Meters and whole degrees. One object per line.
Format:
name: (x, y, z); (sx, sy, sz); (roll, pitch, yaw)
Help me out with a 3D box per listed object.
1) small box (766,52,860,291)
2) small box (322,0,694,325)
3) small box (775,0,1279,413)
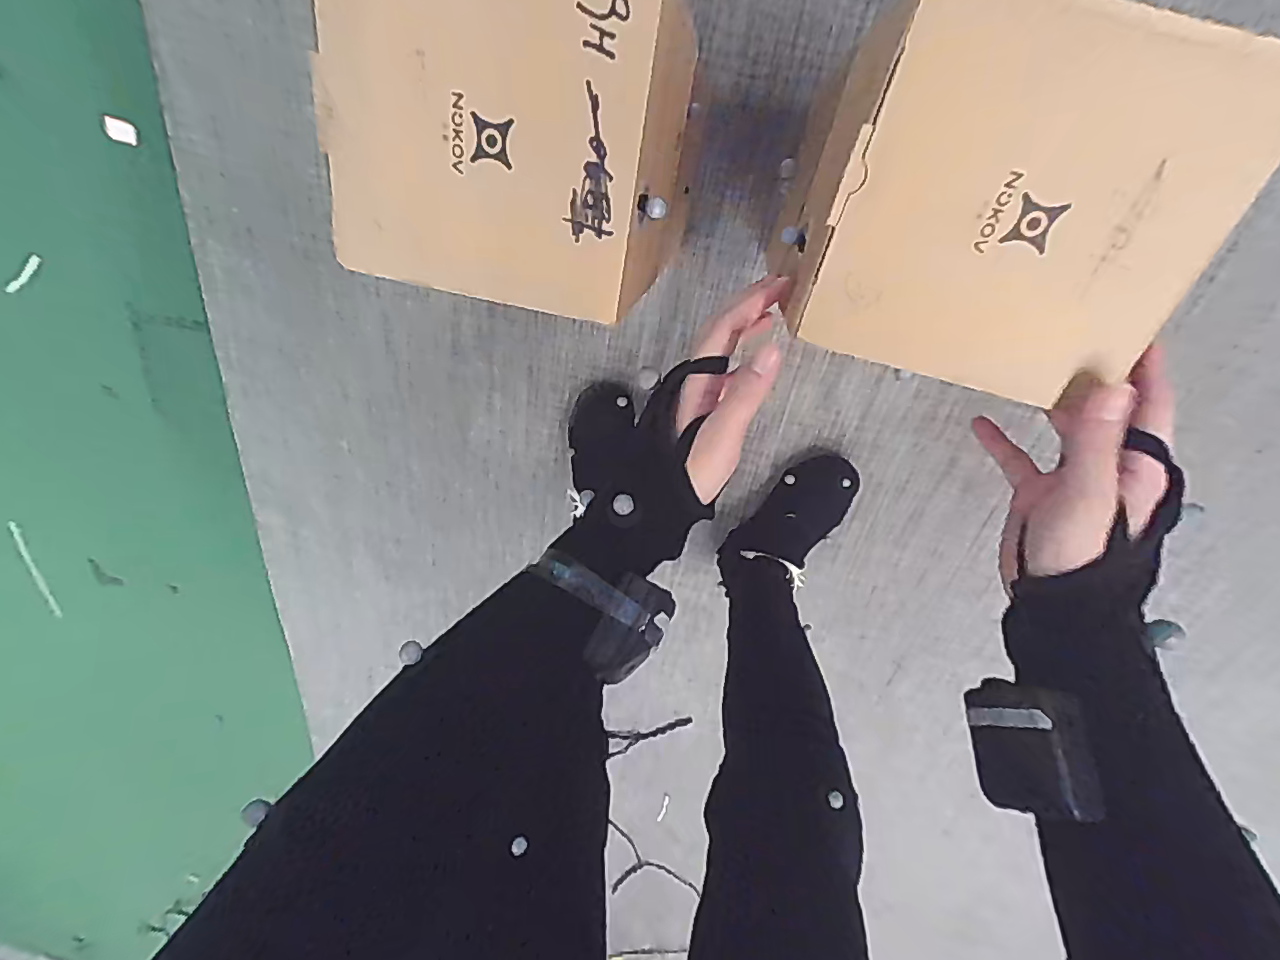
small box: (0.221, -0.242, 0.476); (0.179, 0.176, 0.168); (16, 120, 3)
small box: (-0.071, -0.218, 0.359); (0.179, 0.176, 0.168); (14, 120, 4)
small box: (0.194, -0.165, 0.335); (0.179, 0.176, 0.168); (16, 120, 1)
